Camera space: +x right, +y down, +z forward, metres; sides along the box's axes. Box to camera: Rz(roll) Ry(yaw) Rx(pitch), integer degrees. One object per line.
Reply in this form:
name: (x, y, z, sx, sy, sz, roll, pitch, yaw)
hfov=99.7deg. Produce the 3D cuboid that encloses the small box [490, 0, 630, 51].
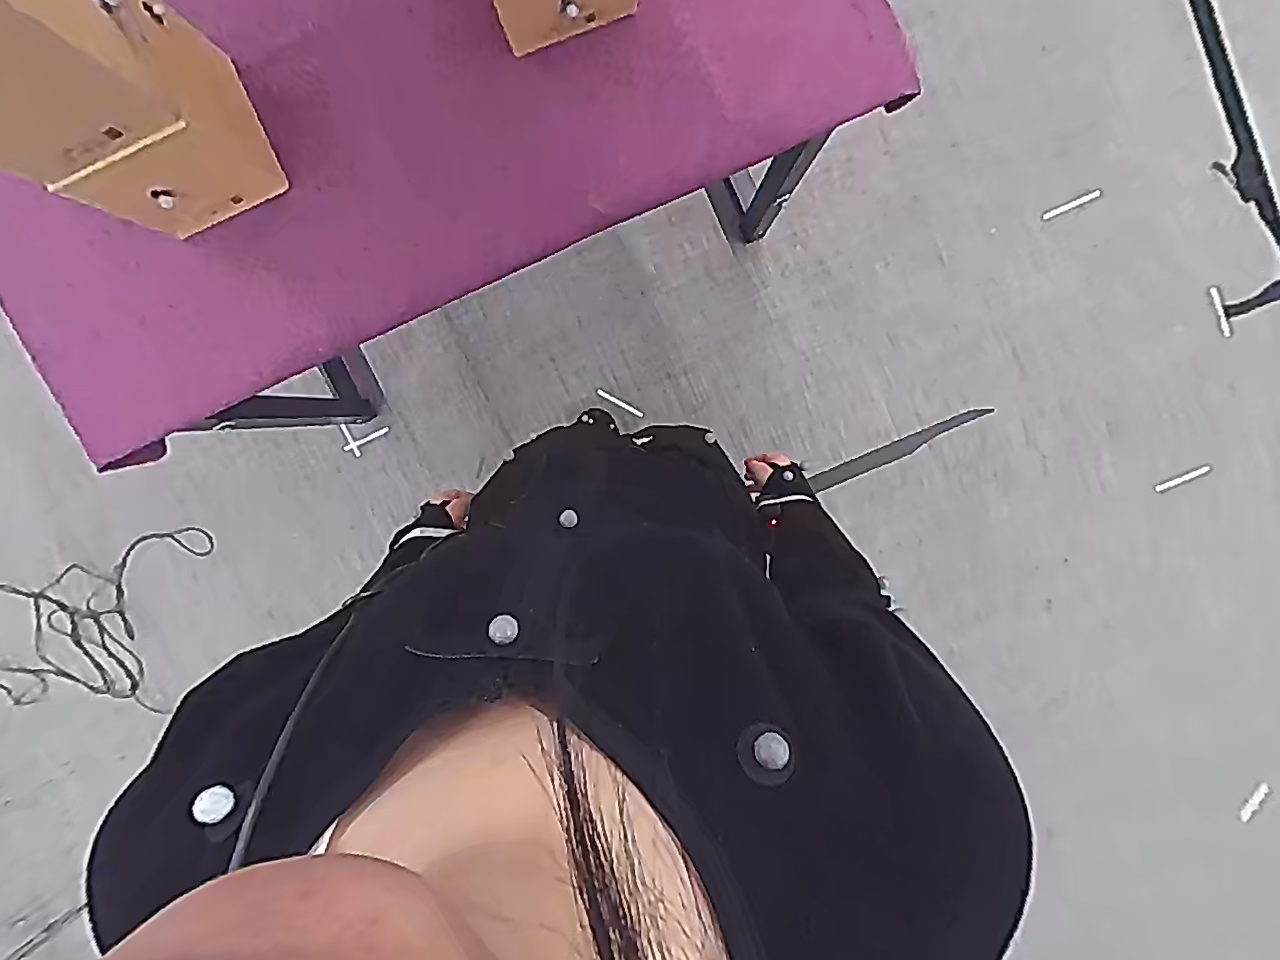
small box: (-0.113, -0.633, 0.591, 0.168, 0.176, 0.179, -18, 97, 3)

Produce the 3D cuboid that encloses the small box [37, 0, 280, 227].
small box: (-0.566, -0.416, 0.619, 0.168, 0.176, 0.179, -23, 96, 3)

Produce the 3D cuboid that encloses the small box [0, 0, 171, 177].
small box: (-0.569, -0.402, 0.456, 0.168, 0.176, 0.179, -24, 95, 3)
